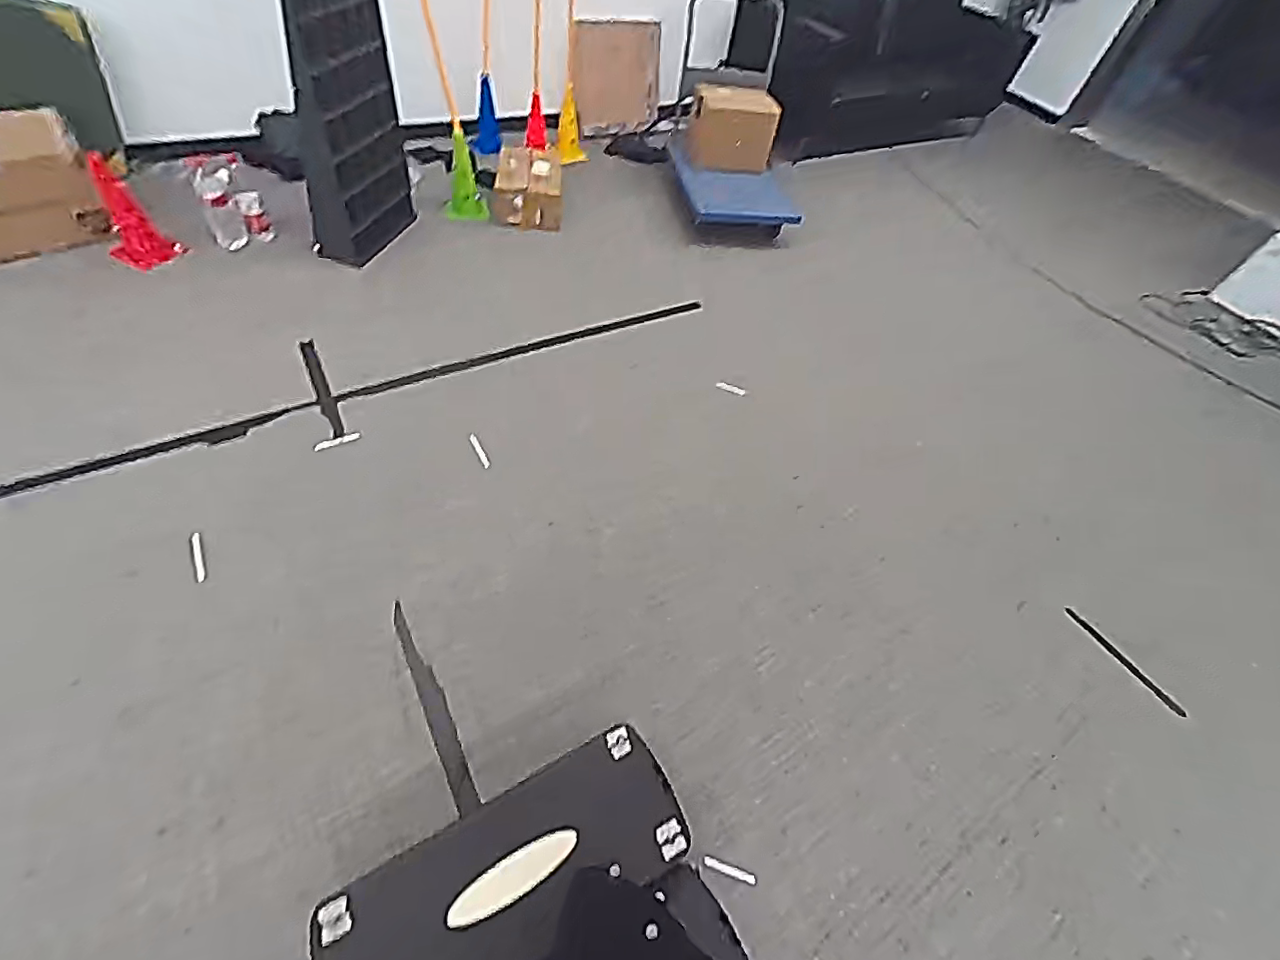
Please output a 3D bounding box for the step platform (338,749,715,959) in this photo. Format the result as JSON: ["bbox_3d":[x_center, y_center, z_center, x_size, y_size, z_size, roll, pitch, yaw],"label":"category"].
[{"bbox_3d":[-0.197,0.810,1.049,0.684,0.204,0.286,-17,55,-23],"label":"step platform"}]
